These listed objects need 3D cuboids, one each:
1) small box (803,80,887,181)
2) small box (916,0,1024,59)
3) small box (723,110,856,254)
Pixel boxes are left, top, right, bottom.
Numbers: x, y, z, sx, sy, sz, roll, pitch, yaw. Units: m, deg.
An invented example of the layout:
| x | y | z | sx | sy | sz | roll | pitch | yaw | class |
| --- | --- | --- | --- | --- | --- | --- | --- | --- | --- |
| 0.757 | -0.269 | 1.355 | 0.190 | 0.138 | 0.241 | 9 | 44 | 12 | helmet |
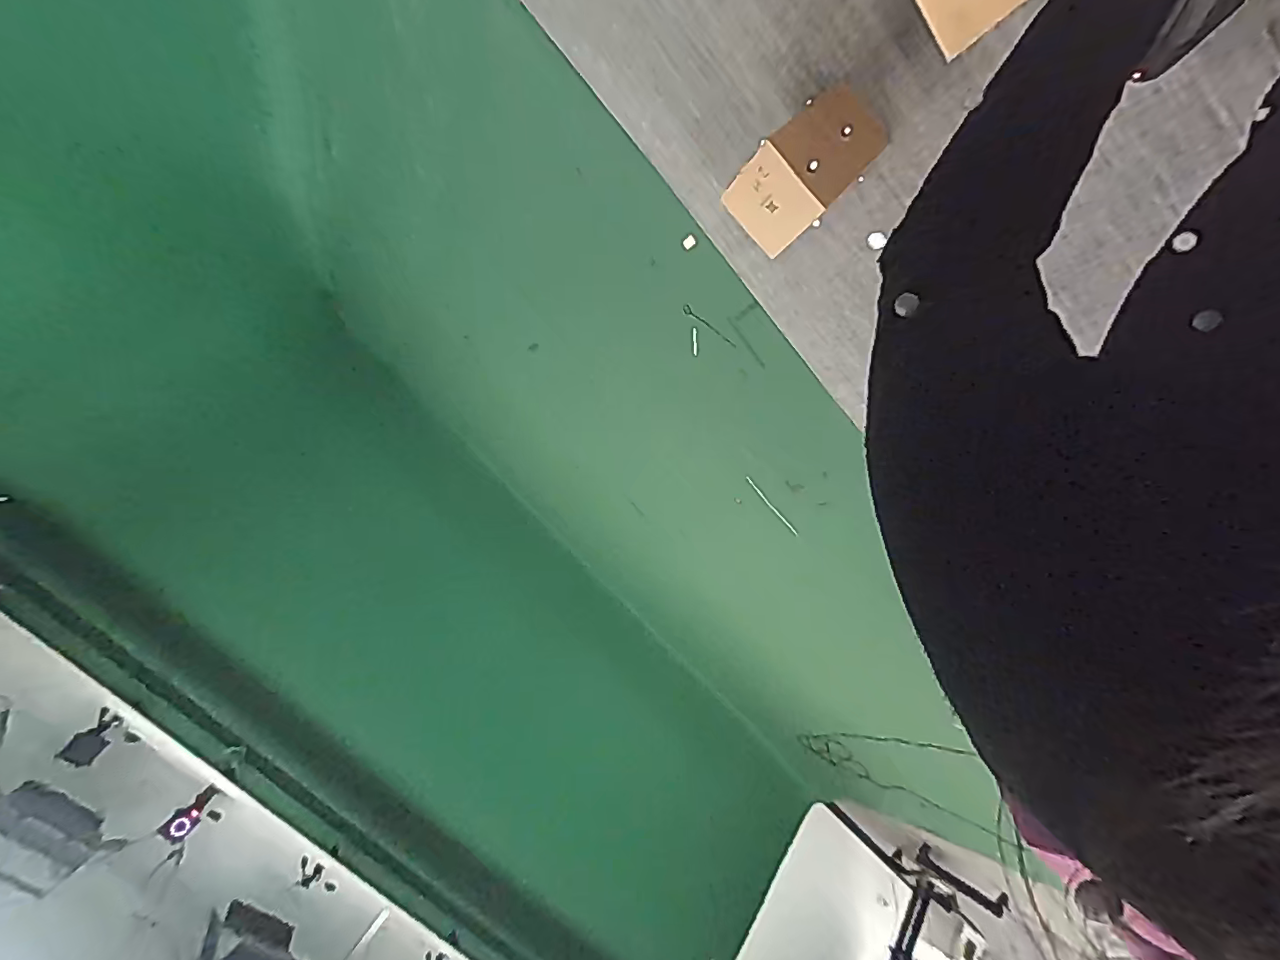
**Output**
| x | y | z | sx | sy | sz | roll | pitch | yaw | class |
| --- | --- | --- | --- | --- | --- | --- | --- | --- | --- |
| 0.413 | -0.738 | 1.207 | 0.179 | 0.176 | 0.168 | 47 | 152 | -10 | small box |
| 0.492 | -0.737 | 0.733 | 0.168 | 0.176 | 0.179 | 50 | 152 | -15 | small box |
| 0.317 | -0.625 | 1.136 | 0.179 | 0.176 | 0.168 | 46 | 152 | -9 | small box |
